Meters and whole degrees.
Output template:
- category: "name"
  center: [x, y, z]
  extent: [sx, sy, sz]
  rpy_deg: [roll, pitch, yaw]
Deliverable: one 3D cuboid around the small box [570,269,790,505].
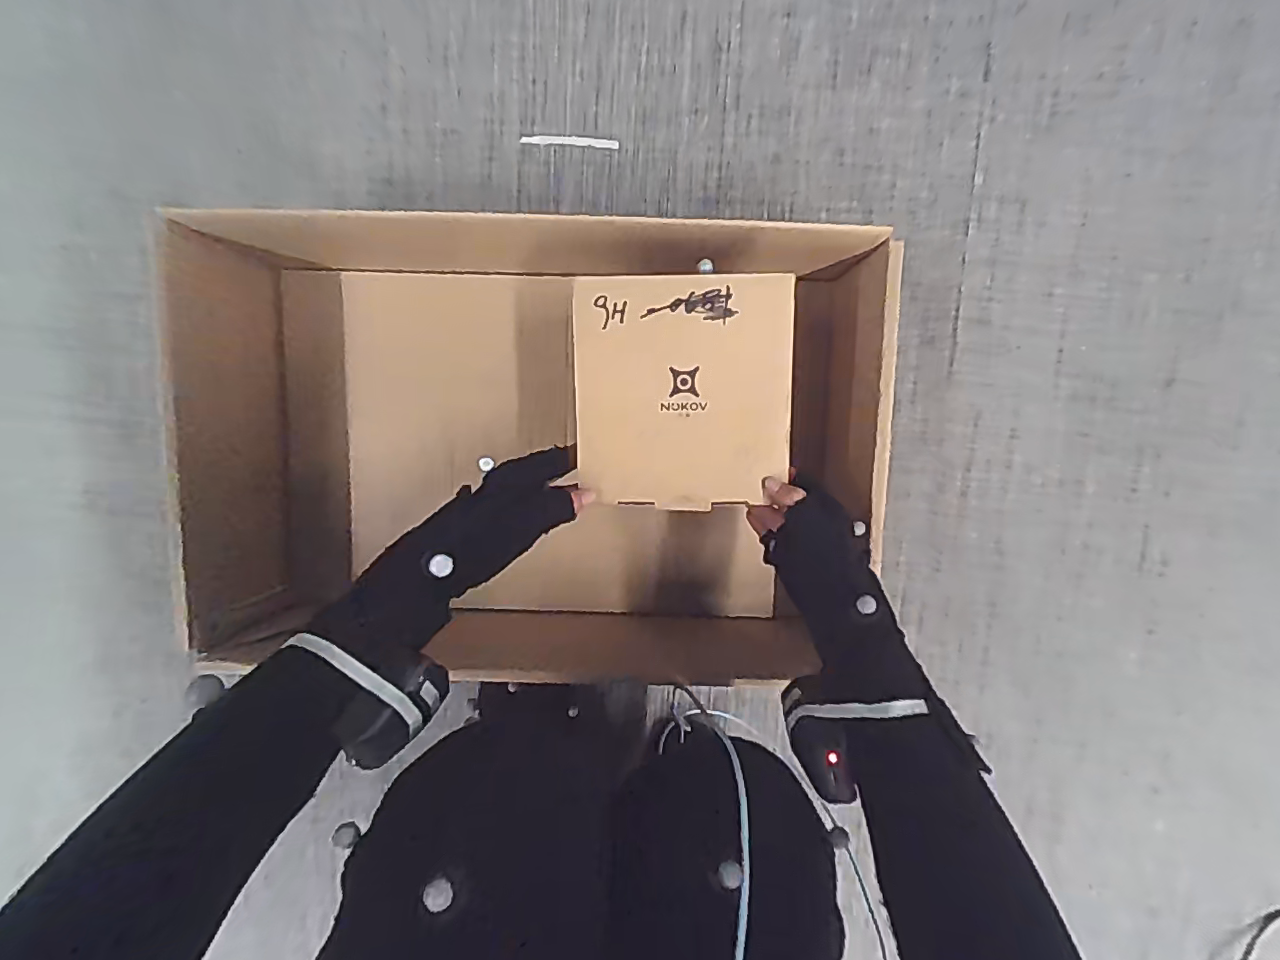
- category: "small box"
  center: [0.036, -0.080, 0.492]
  extent: [0.168, 0.176, 0.179]
  rpy_deg: [-2, 98, 3]
